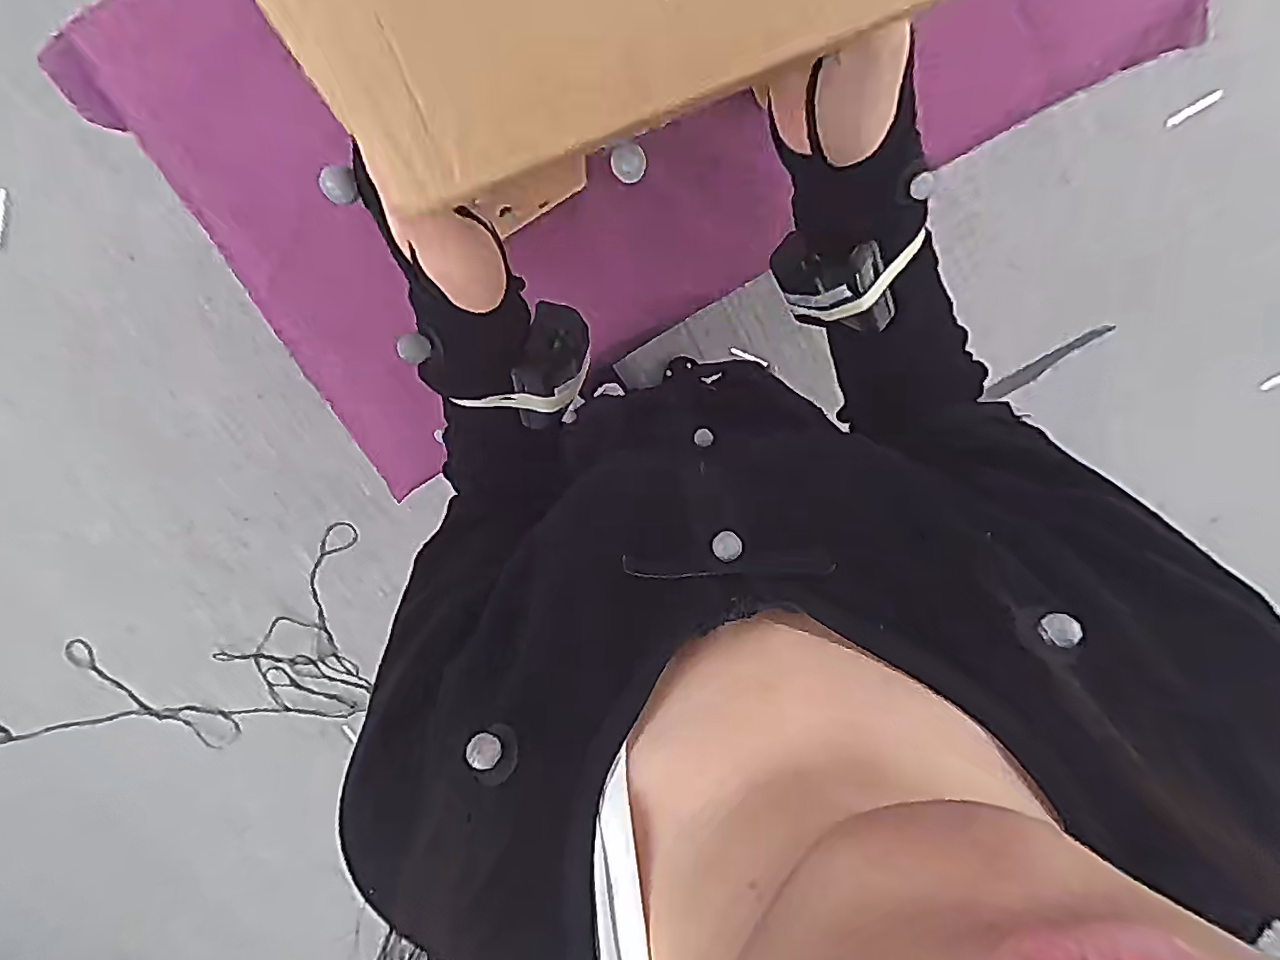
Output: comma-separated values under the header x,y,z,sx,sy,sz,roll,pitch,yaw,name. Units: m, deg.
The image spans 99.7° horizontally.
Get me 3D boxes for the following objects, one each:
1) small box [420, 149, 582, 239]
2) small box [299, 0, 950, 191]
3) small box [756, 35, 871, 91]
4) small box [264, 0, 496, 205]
x,y,z,sx,sy,sz,roll,pitch,yaw,name
-0.175,-0.385,0.584,0.168,0.176,0.179,-31,102,4,small box
-0.021,-0.203,0.152,0.168,0.176,0.179,-20,122,2,small box
0.190,-0.558,0.563,0.179,0.176,0.168,-29,104,3,small box
-0.169,-0.355,0.422,0.168,0.176,0.179,-33,101,5,small box
